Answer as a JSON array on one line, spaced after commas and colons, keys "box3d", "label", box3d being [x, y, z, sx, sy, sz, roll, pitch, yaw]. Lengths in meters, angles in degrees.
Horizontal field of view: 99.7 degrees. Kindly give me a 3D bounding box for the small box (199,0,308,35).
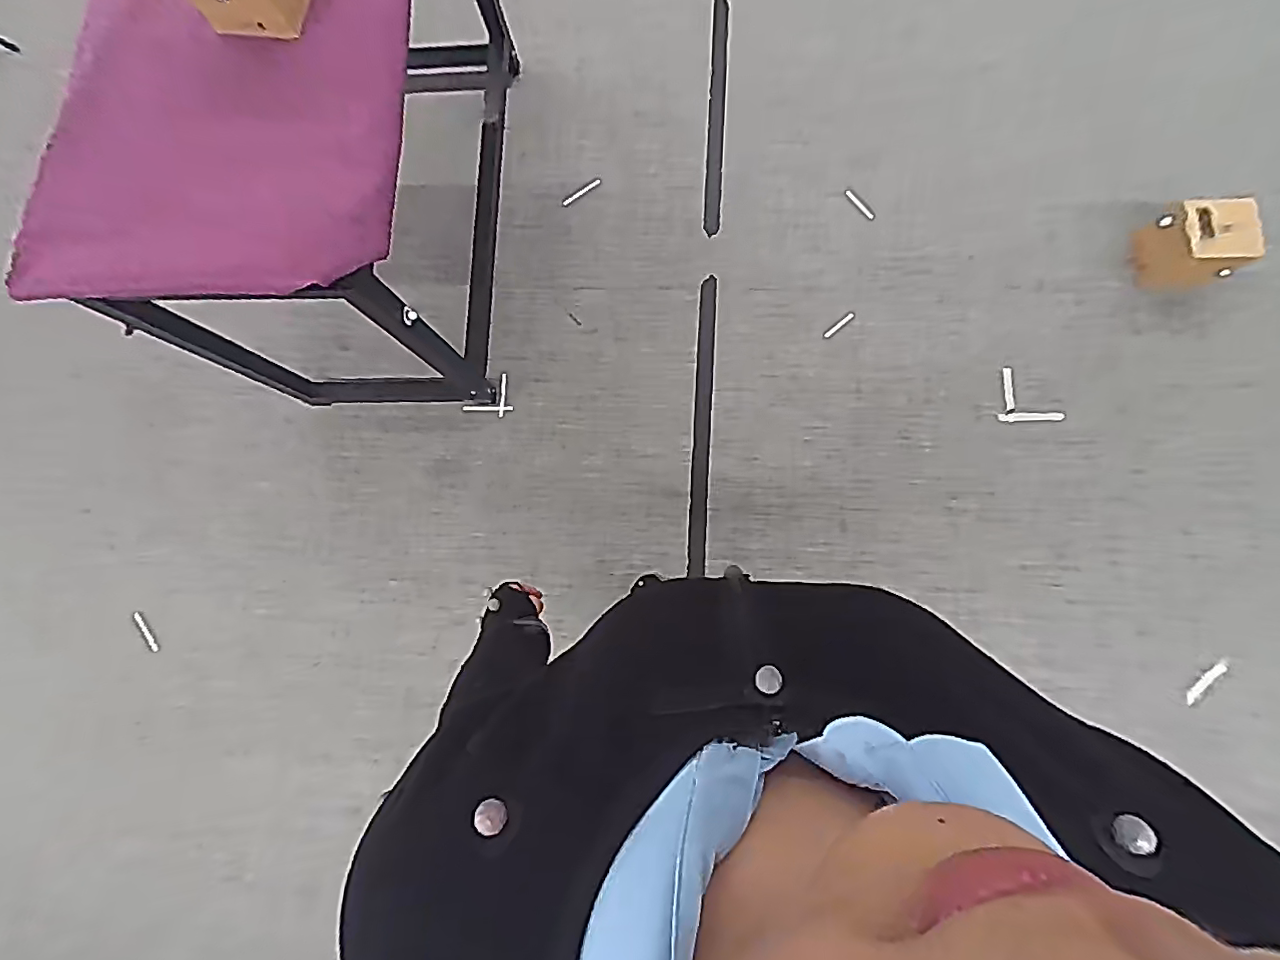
[{"box3d": [-0.688, -0.914, 0.926, 0.168, 0.176, 0.179, 9, 82, 5], "label": "small box"}]
